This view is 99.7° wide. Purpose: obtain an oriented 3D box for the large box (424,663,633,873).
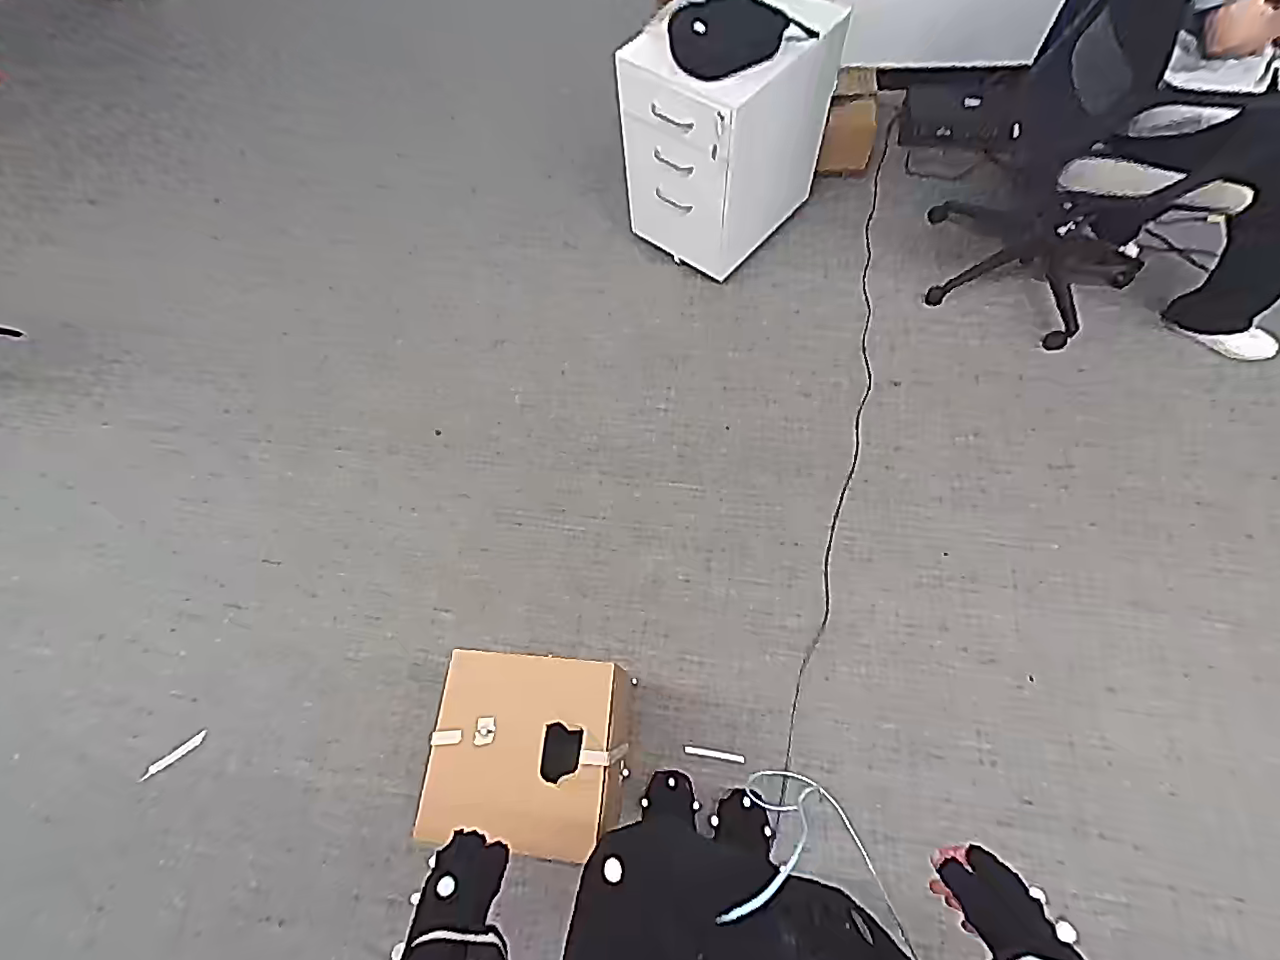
[{"bbox_3d":[-0.191,0.559,1.117,0.320,0.408,0.320,4,67,5],"label":"large box"}]
